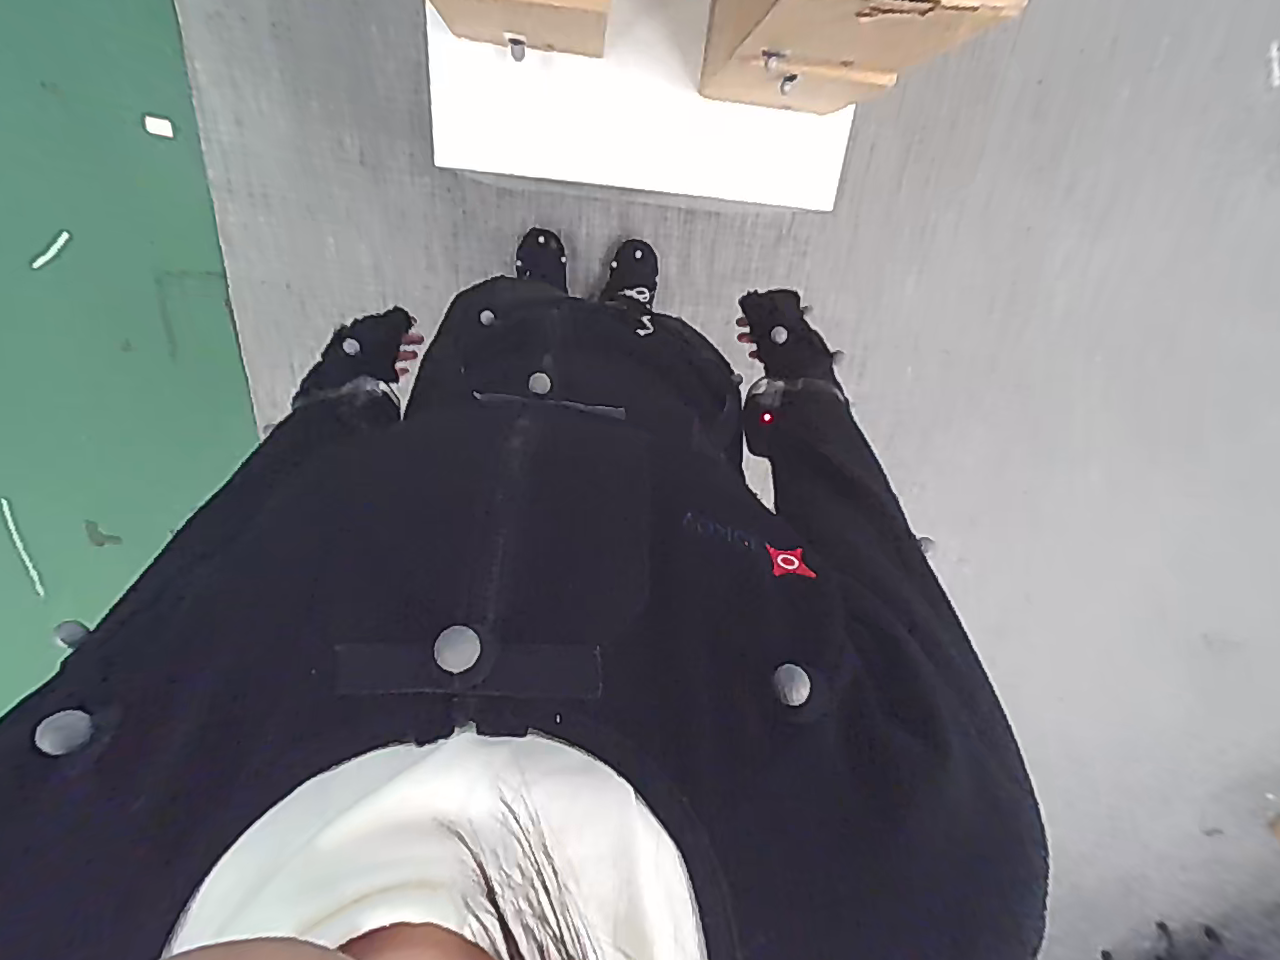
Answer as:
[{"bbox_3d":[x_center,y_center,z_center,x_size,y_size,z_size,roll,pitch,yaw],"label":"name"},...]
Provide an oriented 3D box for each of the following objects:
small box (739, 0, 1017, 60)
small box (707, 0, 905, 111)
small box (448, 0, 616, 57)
[{"bbox_3d":[0.175,-0.432,0.391,0.168,0.176,0.179,1,115,-5],"label":"small box"},{"bbox_3d":[0.169,-0.498,0.542,0.168,0.176,0.179,3,115,-5],"label":"small box"},{"bbox_3d":[-0.104,-0.531,0.506,0.168,0.176,0.179,2,118,-5],"label":"small box"}]
